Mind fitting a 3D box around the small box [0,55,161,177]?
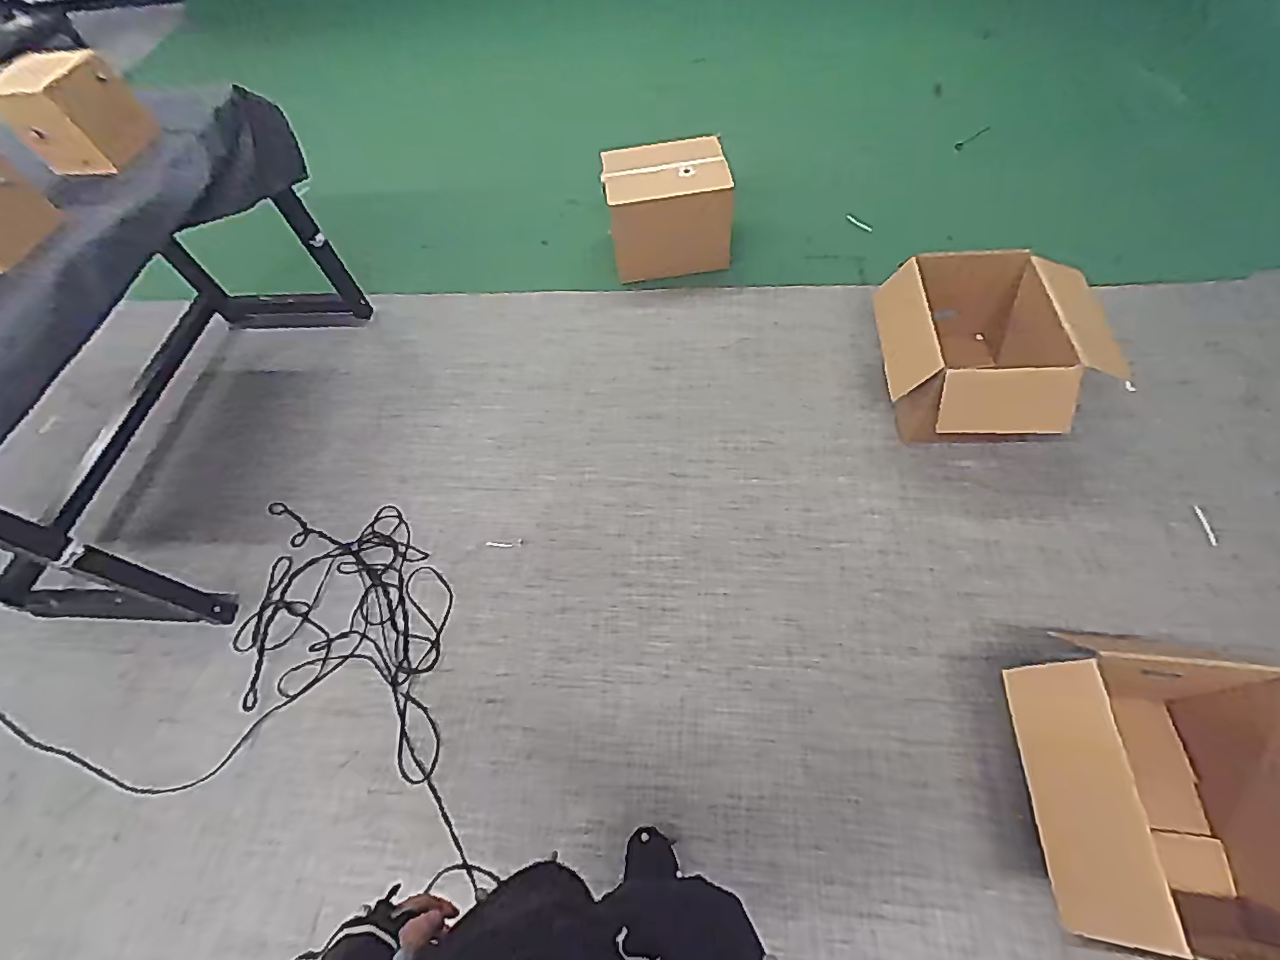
[{"bbox_3d":[-1.221,-0.787,1.183,0.168,0.176,0.179,3,59,8],"label":"small box"}]
